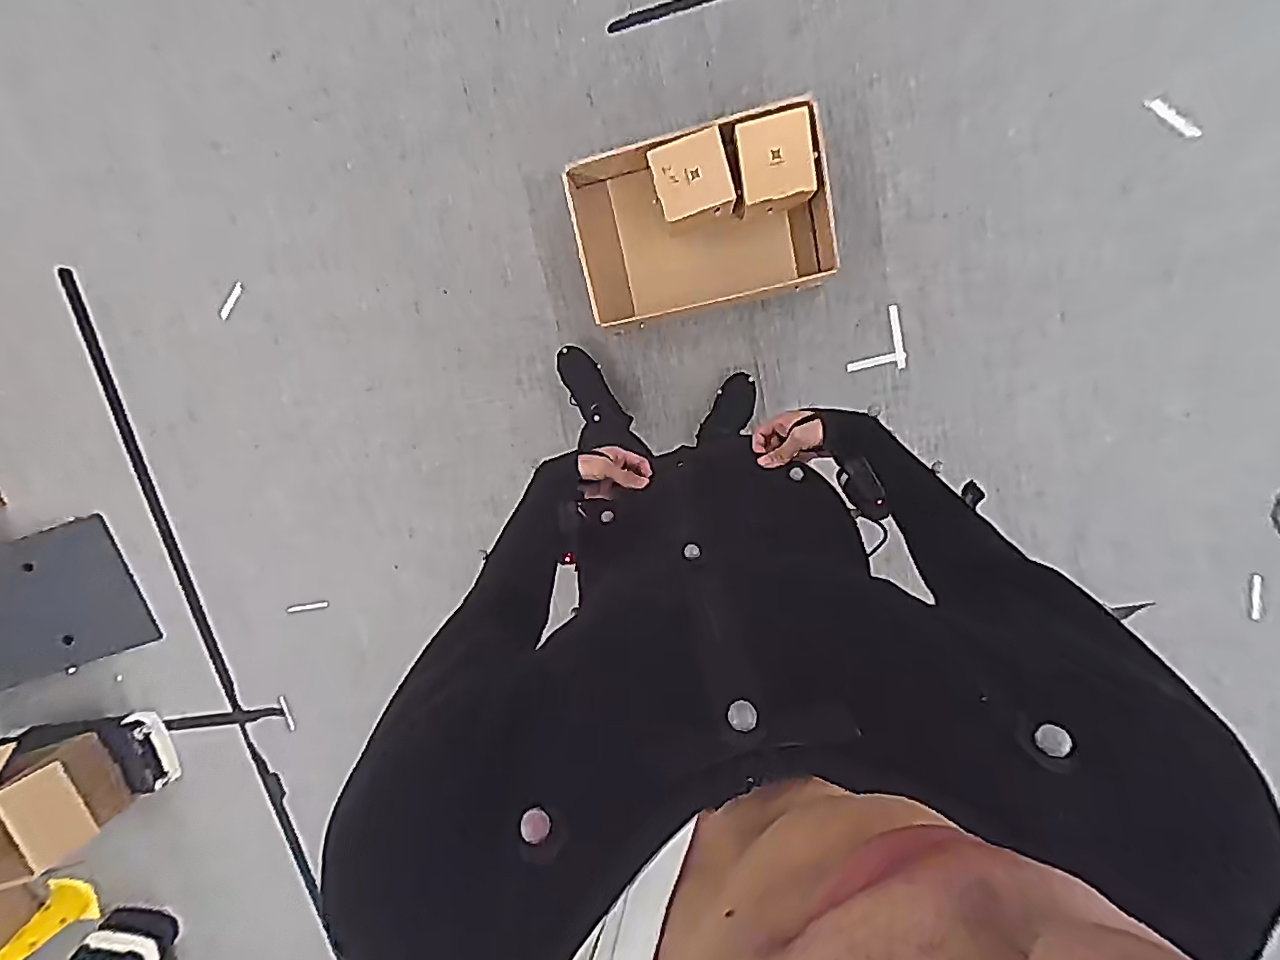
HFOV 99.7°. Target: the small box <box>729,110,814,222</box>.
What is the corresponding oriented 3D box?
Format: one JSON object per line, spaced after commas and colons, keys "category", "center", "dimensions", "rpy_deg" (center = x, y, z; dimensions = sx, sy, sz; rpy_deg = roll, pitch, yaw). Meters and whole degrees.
{"category": "small box", "center": [0.316, -0.757, 1.323], "dimensions": [0.168, 0.176, 0.179], "rpy_deg": [-10, 104, 9]}
